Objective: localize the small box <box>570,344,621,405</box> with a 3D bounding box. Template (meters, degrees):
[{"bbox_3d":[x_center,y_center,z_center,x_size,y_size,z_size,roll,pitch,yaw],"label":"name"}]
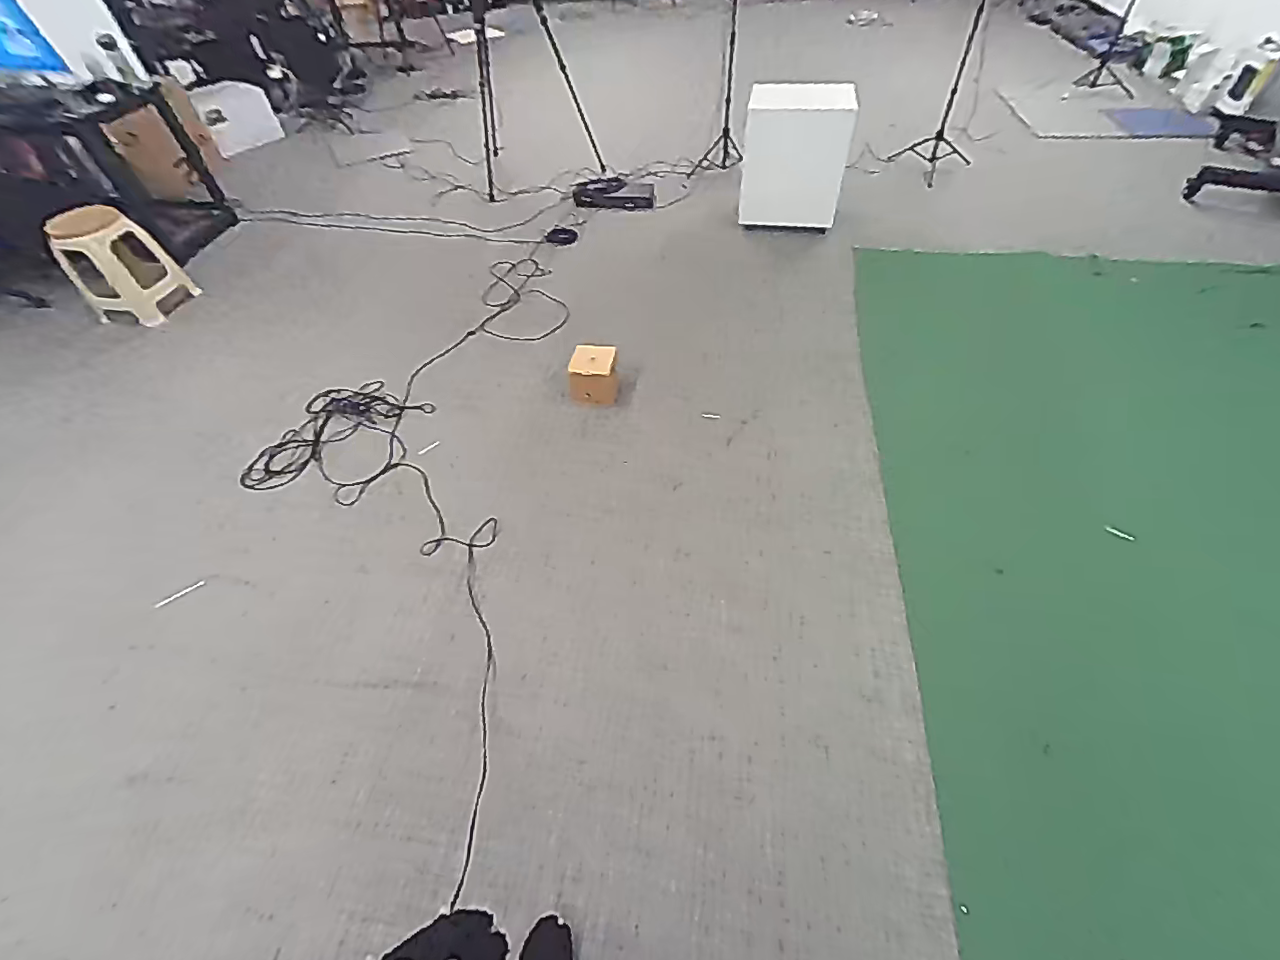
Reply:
[{"bbox_3d":[-0.175,-0.428,2.188,0.168,0.176,0.179,5,51,9],"label":"small box"}]
